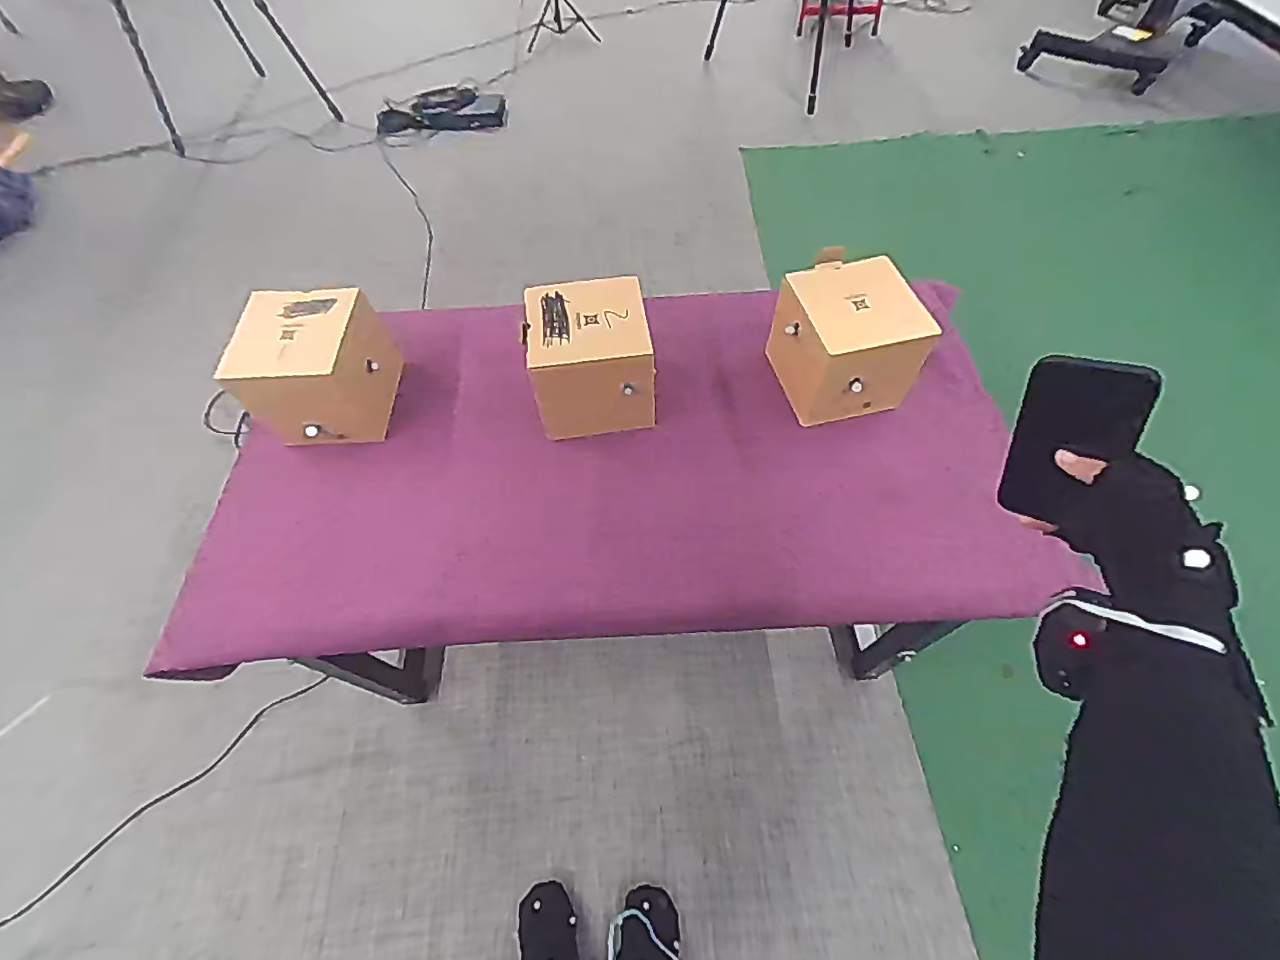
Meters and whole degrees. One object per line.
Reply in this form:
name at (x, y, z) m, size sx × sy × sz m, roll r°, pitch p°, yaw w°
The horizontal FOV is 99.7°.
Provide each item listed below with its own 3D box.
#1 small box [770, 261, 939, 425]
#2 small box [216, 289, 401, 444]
small box at (0.317, -0.203, 0.840) m, size 0.168 × 0.176 × 0.179 m, roll -12°, pitch 58°, yaw -5°
small box at (-0.497, -0.173, 0.845) m, size 0.168 × 0.176 × 0.179 m, roll -2°, pitch 60°, yaw 1°
